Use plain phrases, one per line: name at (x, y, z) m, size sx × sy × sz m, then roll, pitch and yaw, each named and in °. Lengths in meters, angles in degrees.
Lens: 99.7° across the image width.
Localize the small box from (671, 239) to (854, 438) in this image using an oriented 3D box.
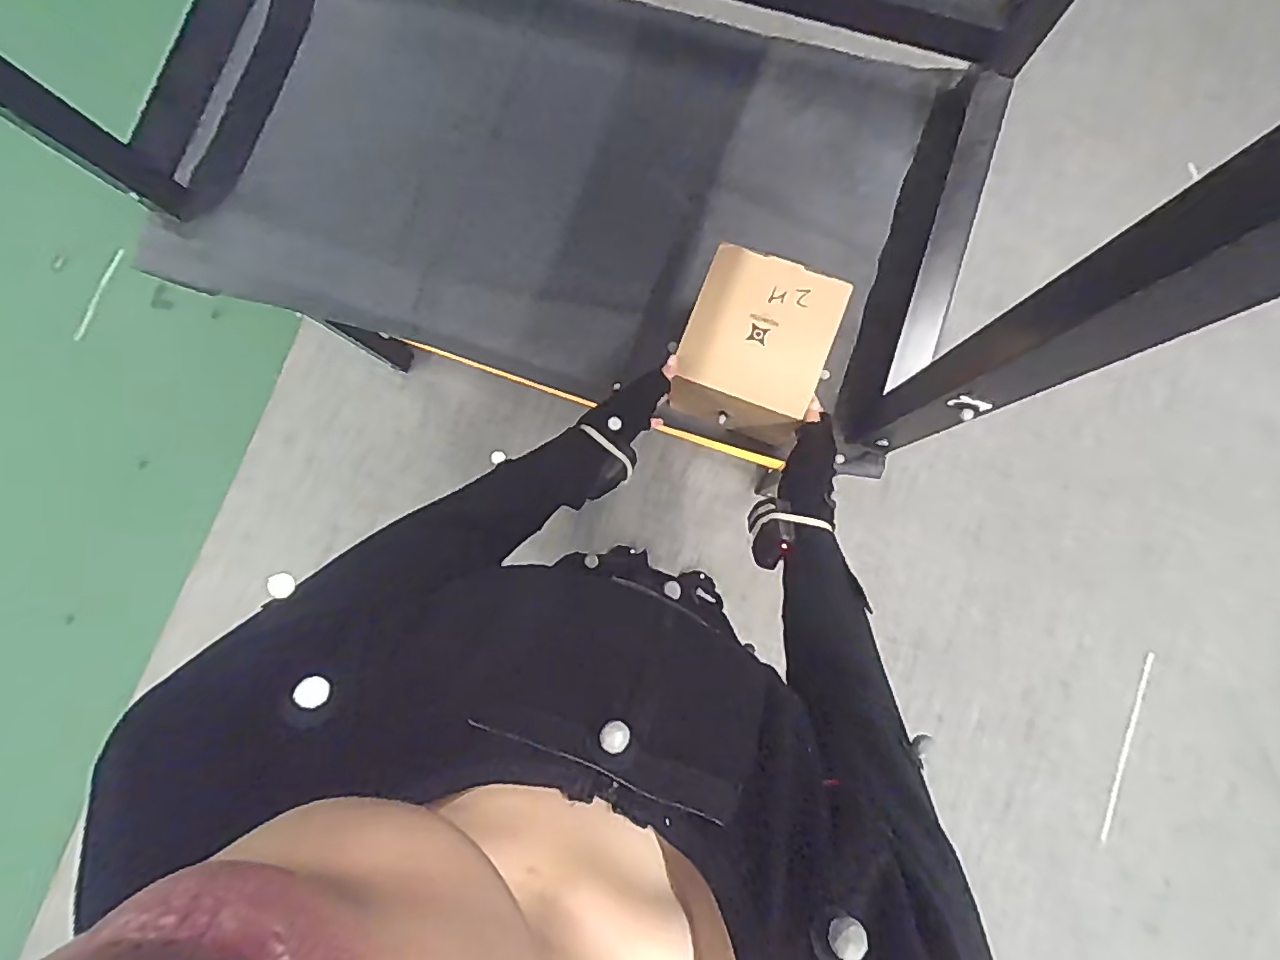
small box at (0.149, -0.170, 0.707) m, size 0.168 × 0.176 × 0.179 m, roll 21°, pitch 85°, yaw 5°
